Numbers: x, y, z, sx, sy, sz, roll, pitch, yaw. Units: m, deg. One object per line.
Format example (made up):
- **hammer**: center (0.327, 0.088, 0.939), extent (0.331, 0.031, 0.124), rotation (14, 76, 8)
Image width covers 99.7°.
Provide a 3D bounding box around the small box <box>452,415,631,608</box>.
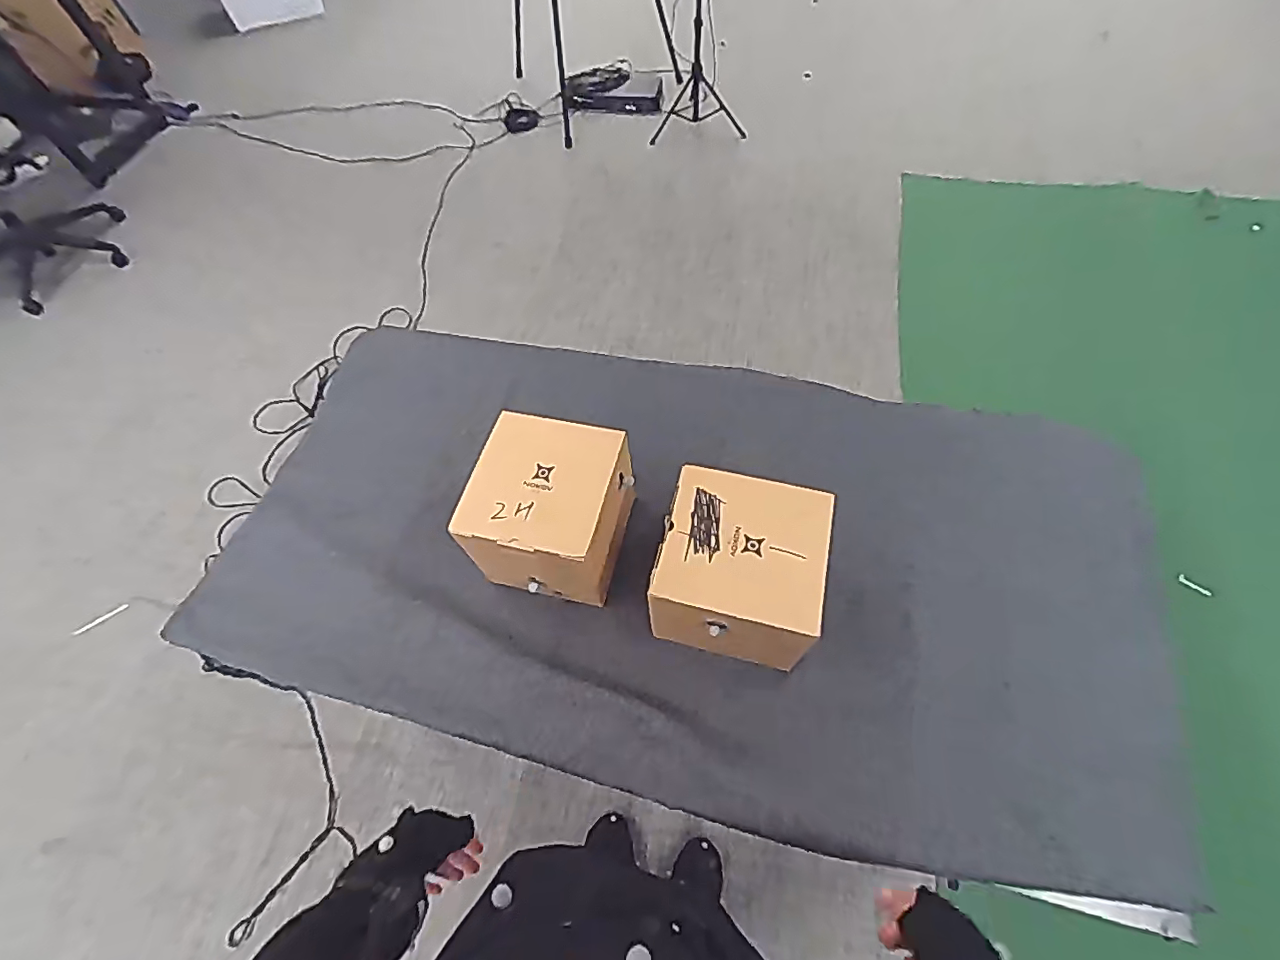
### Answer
- **small box**: center (-0.111, 0.044, 0.705), extent (0.168, 0.176, 0.179), rotation (10, 61, 10)
